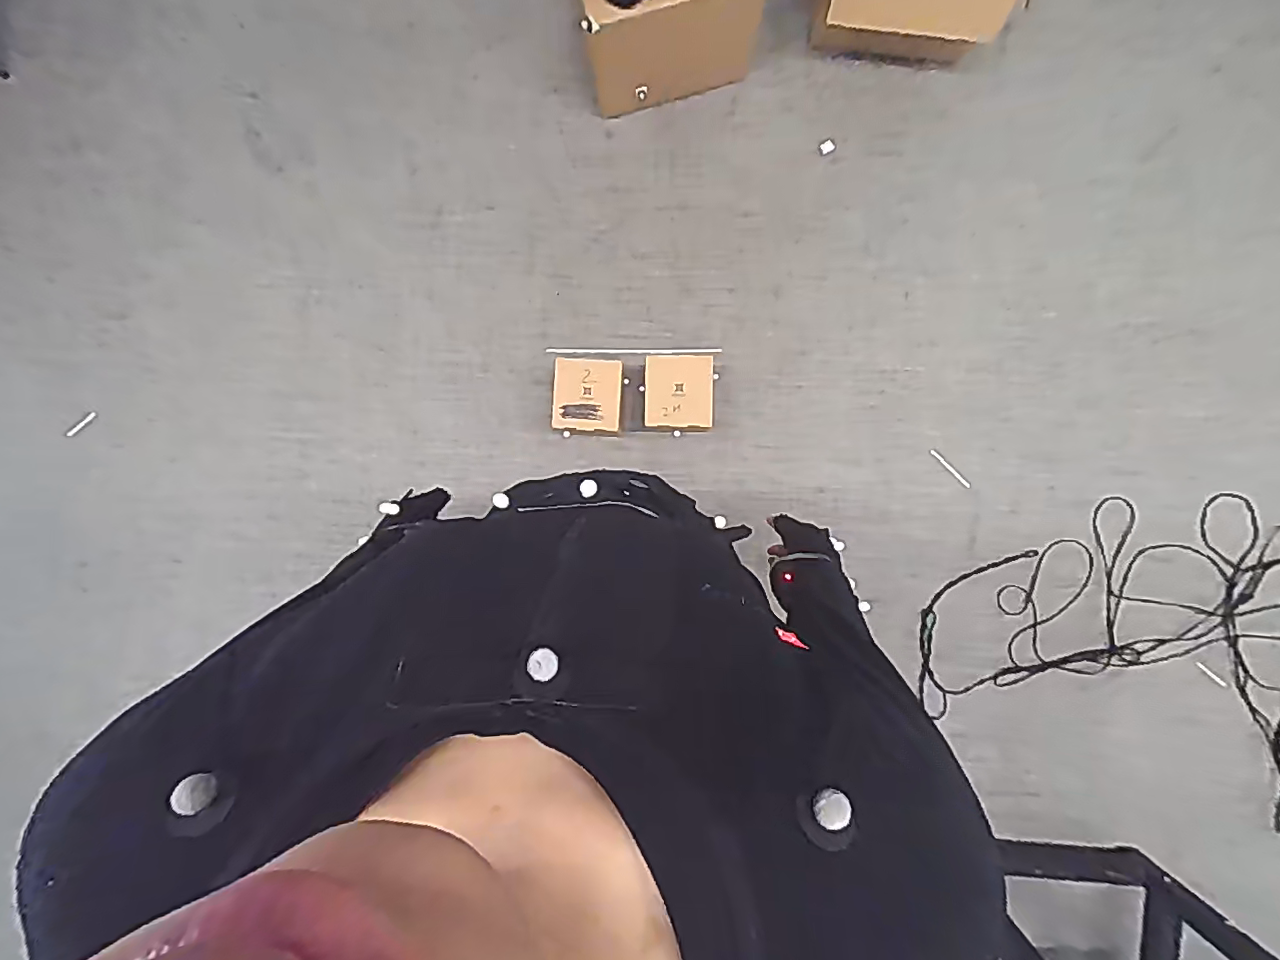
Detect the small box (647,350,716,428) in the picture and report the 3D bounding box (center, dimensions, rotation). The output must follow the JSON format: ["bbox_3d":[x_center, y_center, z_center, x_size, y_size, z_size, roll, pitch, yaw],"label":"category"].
[{"bbox_3d":[0.102,-0.228,1.382,0.168,0.176,0.179,1,91,3],"label":"small box"}]
